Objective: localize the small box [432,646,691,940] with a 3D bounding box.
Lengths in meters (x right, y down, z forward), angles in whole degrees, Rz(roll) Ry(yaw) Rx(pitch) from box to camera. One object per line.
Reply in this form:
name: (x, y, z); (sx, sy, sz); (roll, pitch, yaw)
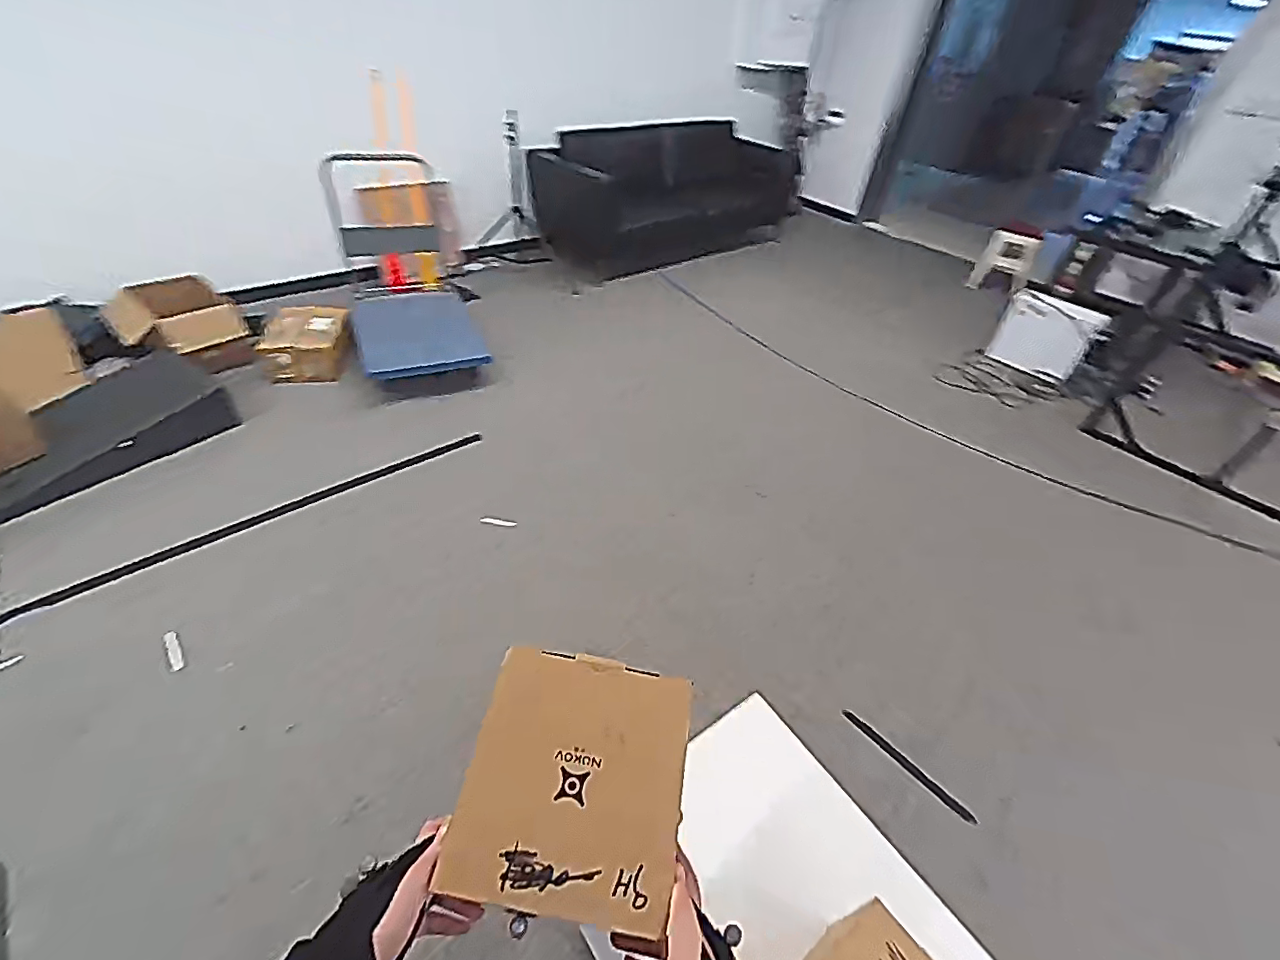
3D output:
small box: (-0.056, 0.273, 0.475); (0.168, 0.176, 0.179); (10, 52, 2)
